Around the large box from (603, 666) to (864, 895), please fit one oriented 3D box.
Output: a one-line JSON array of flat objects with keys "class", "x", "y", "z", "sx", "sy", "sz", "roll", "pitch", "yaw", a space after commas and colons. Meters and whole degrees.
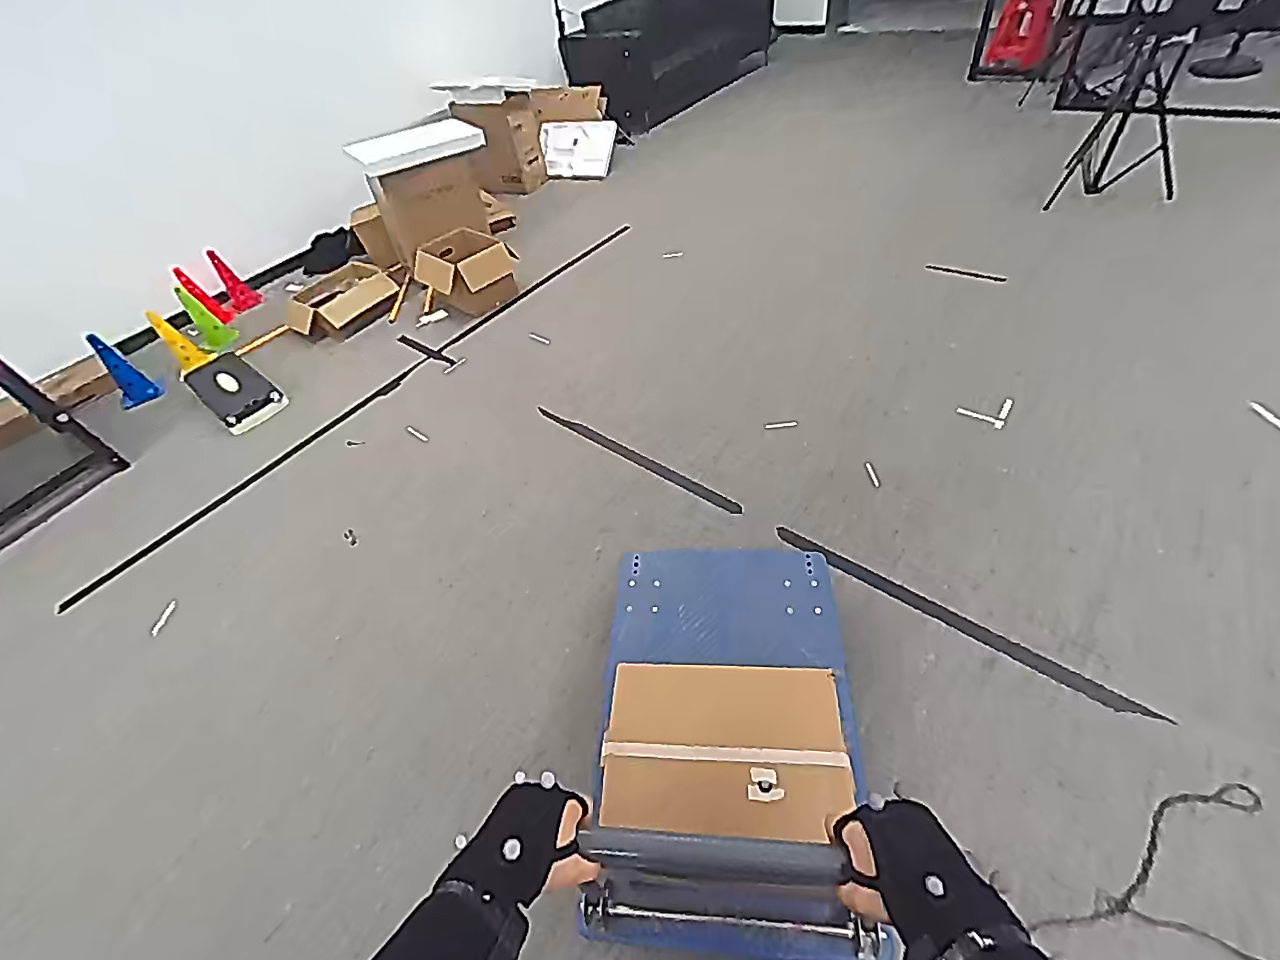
[{"class": "large box", "x": 0.162, "y": 0.569, "z": 1.029, "sx": 0.408, "sy": 0.320, "sz": 0.320, "roll": -1, "pitch": 48, "yaw": 8}]
